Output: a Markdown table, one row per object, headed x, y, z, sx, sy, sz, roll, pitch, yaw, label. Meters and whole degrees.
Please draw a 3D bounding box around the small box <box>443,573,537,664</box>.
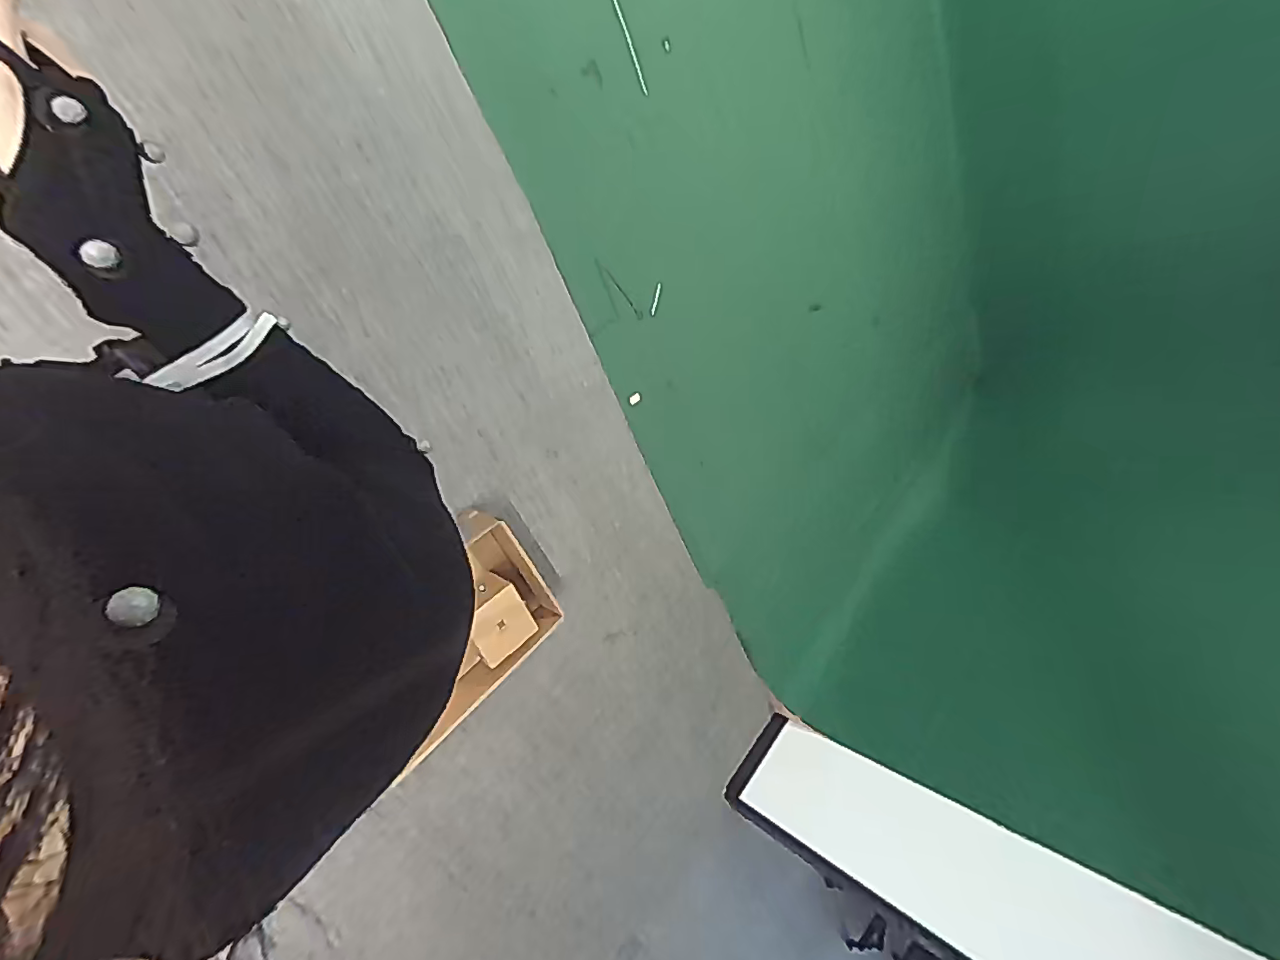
| x | y | z | sx | sy | sz | roll | pitch | yaw | label |
| --- | --- | --- | --- | --- | --- | --- | --- | --- | --- |
| -0.429 | 0.382 | 1.536 | 0.168 | 0.176 | 0.179 | -38 | 119 | -30 | small box |
